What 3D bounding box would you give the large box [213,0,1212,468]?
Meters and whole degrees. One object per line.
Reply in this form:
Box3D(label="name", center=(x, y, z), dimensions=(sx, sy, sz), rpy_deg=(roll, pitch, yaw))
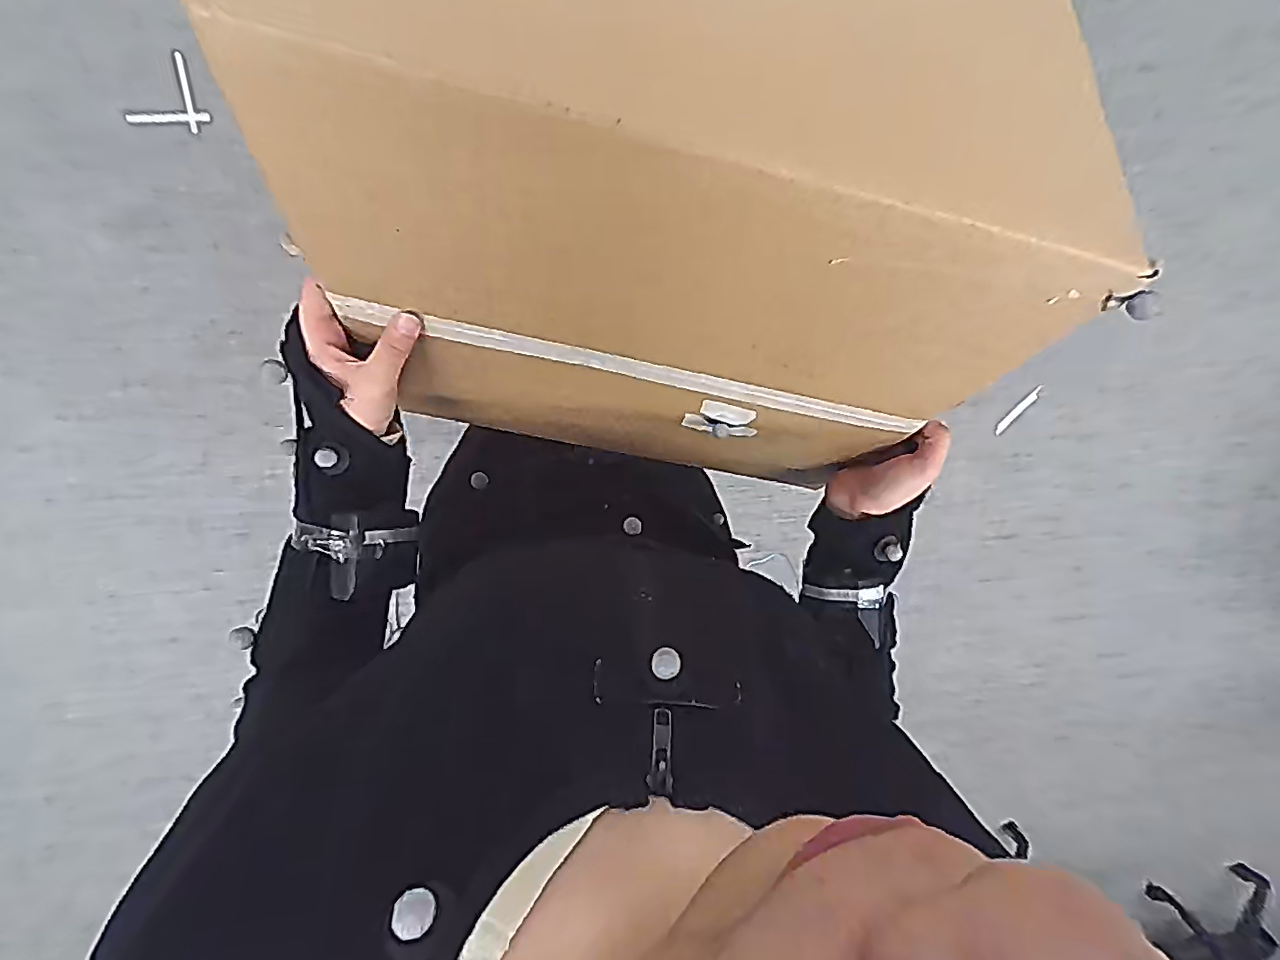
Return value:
Box3D(label="large box", center=(0.033, -0.231, 0.391), dimensions=(0.408, 0.320, 0.320), rpy_deg=(9, 70, -8))
